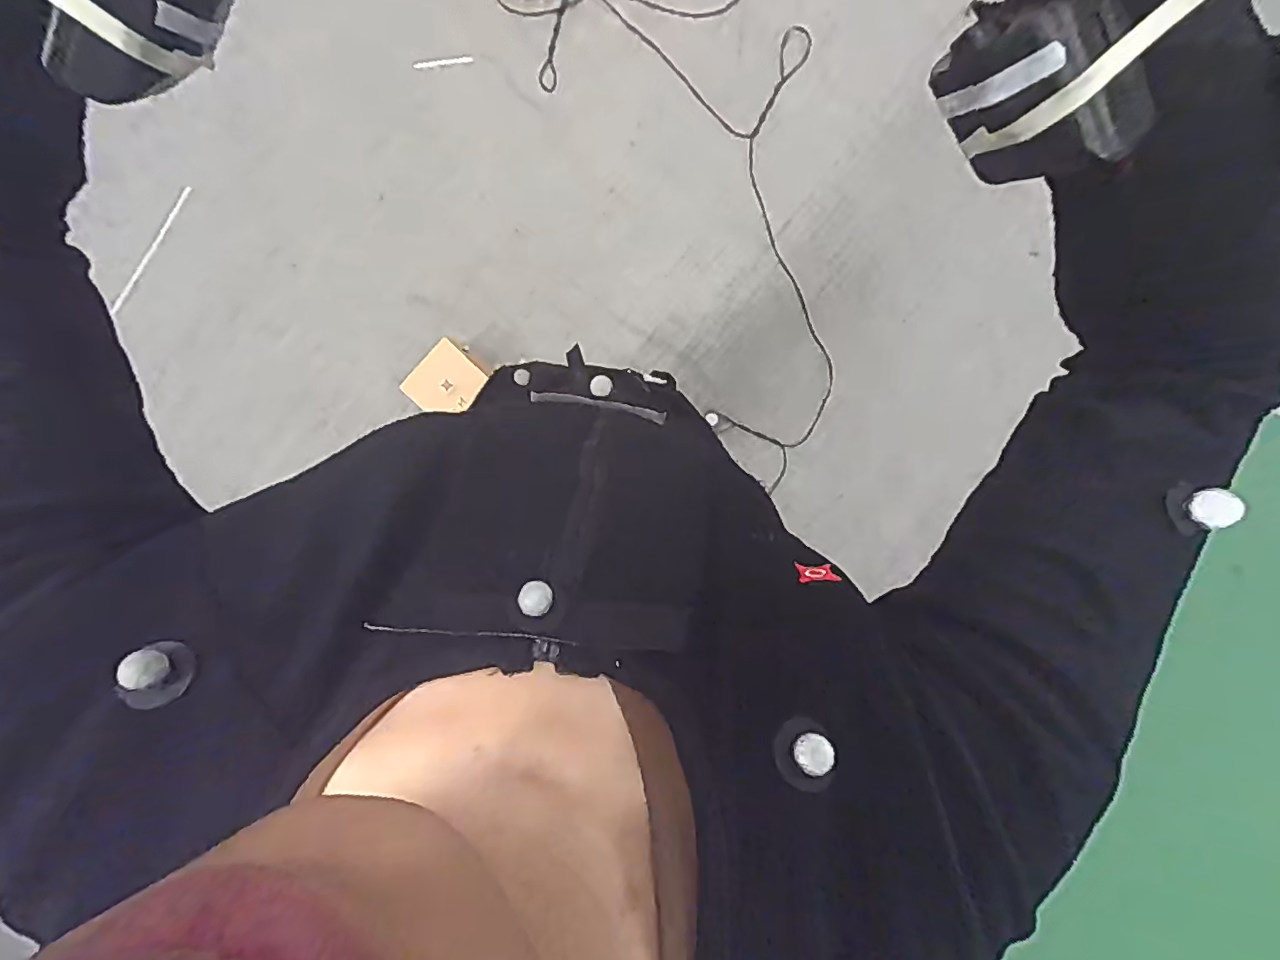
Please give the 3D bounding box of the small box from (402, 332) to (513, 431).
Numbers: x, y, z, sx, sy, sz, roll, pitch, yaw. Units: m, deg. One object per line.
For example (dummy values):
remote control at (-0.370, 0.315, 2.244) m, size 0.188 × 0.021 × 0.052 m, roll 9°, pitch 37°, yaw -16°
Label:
small box at (-0.447, -0.242, 1.349) m, size 0.179 × 0.176 × 0.168 m, roll 44°, pitch 97°, yaw -8°
